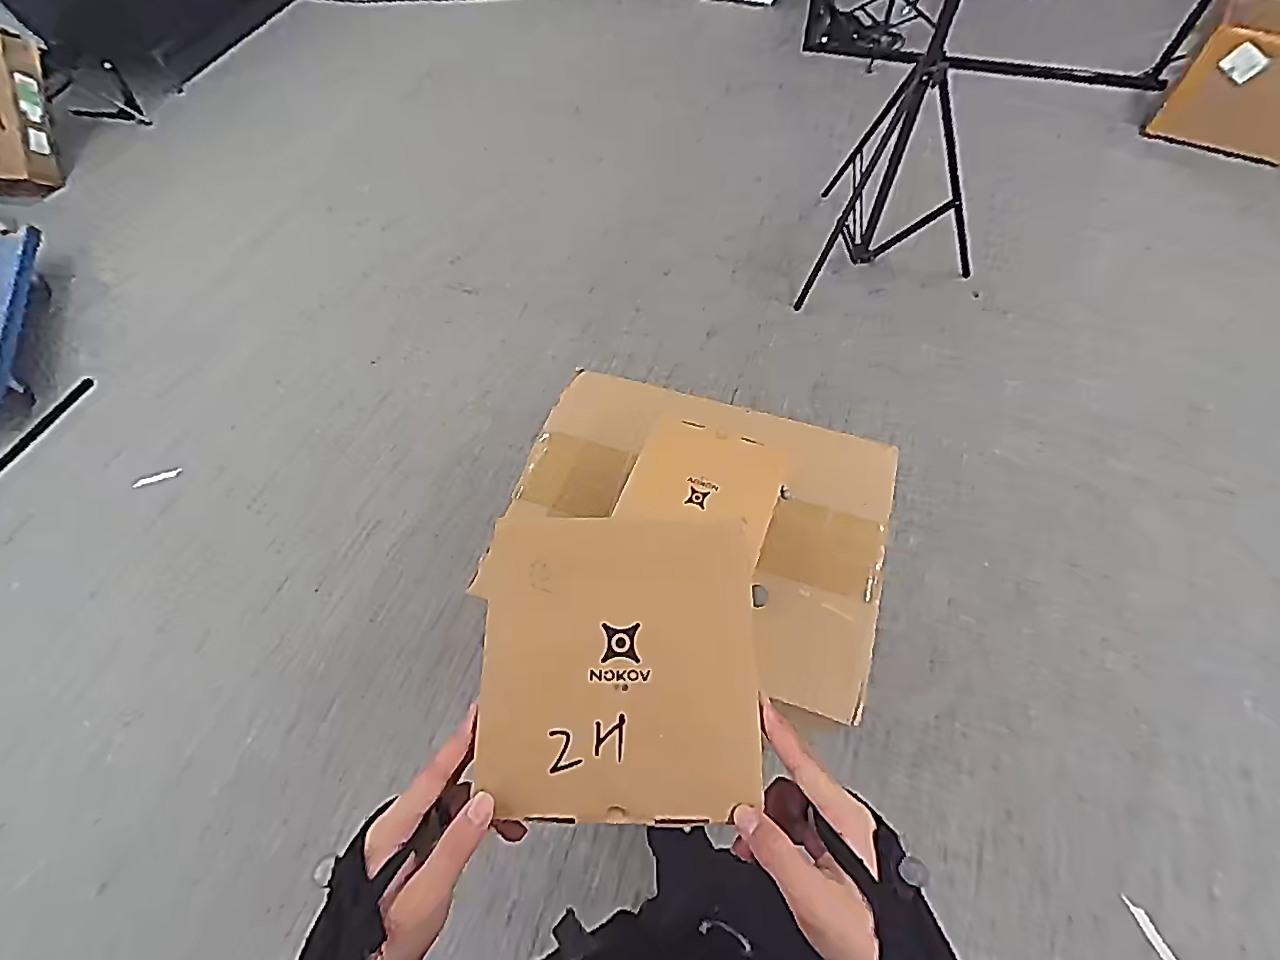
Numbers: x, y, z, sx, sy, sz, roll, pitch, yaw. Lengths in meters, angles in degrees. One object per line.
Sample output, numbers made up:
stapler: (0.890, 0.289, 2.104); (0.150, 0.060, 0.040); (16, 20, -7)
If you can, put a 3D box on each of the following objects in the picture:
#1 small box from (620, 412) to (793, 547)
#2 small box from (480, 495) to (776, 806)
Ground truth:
small box: (0.075, 0.050, 0.666); (0.168, 0.176, 0.179); (17, 63, 13)
small box: (-0.003, 0.120, 0.398); (0.168, 0.176, 0.179); (0, 71, 2)
